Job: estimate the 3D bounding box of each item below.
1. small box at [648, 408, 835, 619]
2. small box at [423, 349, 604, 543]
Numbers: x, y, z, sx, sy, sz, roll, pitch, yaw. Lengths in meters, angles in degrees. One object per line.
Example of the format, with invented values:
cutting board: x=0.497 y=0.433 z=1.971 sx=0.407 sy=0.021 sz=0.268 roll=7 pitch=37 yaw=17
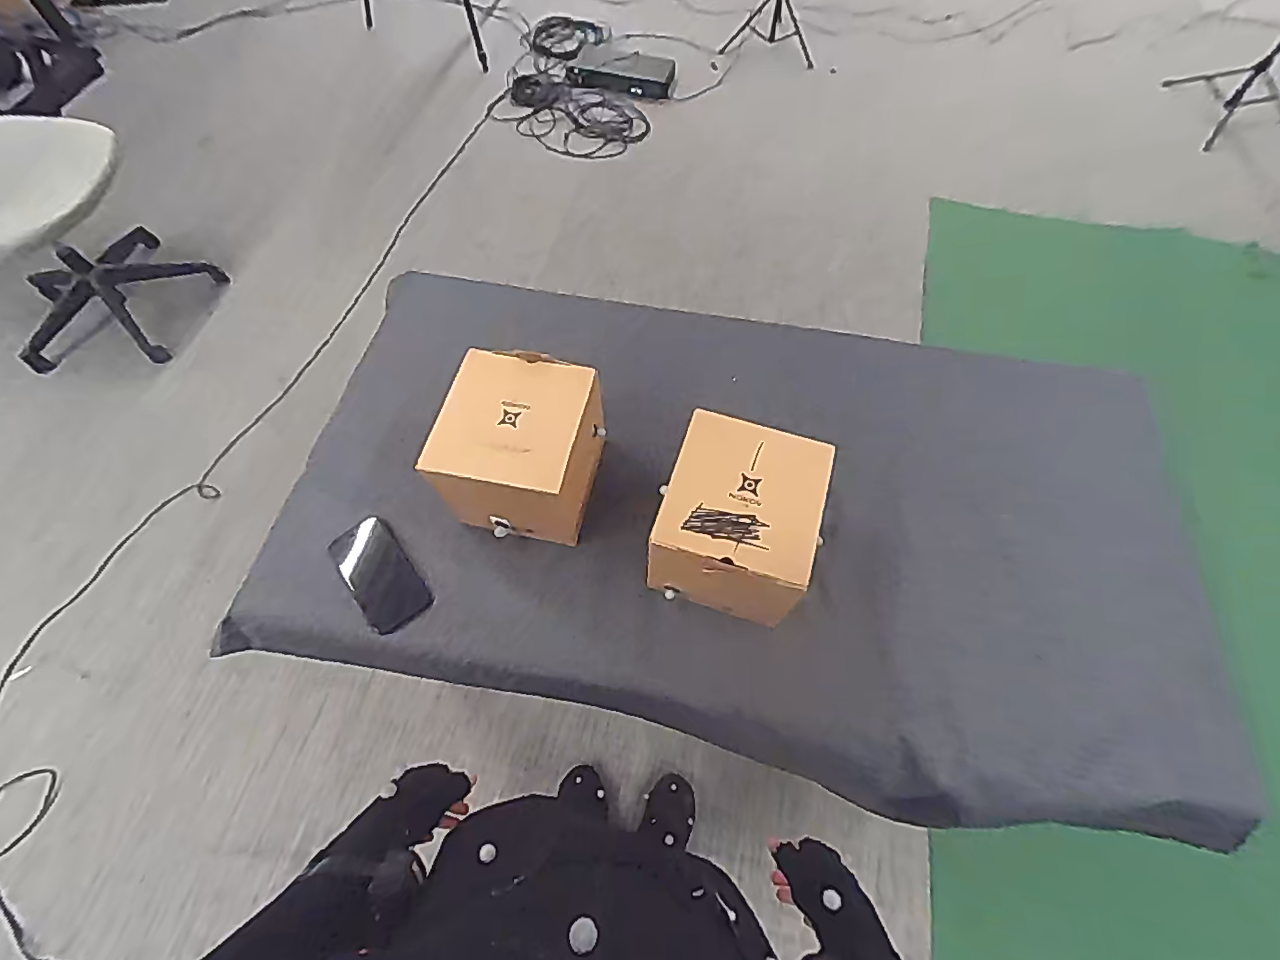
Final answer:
small box: x=0.114 y=0.048 z=0.649 sx=0.168 sy=0.176 sz=0.179 roll=17 pitch=63 yaw=9
small box: x=-0.144 y=-0.039 z=0.697 sx=0.168 sy=0.176 sz=0.179 roll=9 pitch=64 yaw=6
